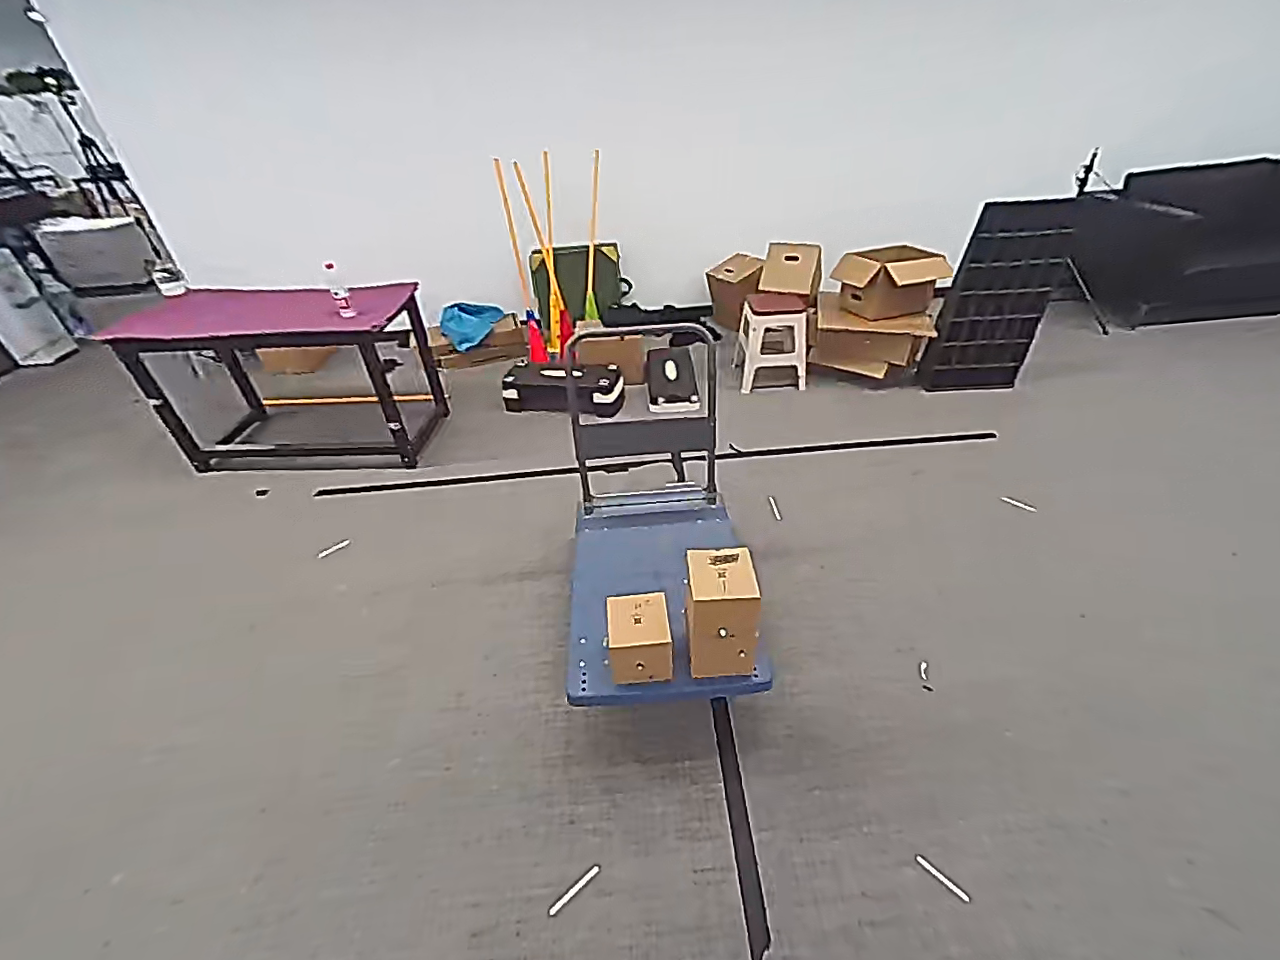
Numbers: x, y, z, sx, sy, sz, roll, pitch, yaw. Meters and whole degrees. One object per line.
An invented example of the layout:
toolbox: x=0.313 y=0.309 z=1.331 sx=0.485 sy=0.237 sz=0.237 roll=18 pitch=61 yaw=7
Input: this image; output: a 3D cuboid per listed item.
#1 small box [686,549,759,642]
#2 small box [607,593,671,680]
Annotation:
small box: x=0.209 y=0.302 z=1.416 sx=0.168 sy=0.176 sz=0.179 roll=-3 pitch=37 yaw=1
small box: x=-0.004 y=0.444 z=1.518 sx=0.168 sy=0.176 sz=0.179 roll=-4 pitch=36 yaw=-2
